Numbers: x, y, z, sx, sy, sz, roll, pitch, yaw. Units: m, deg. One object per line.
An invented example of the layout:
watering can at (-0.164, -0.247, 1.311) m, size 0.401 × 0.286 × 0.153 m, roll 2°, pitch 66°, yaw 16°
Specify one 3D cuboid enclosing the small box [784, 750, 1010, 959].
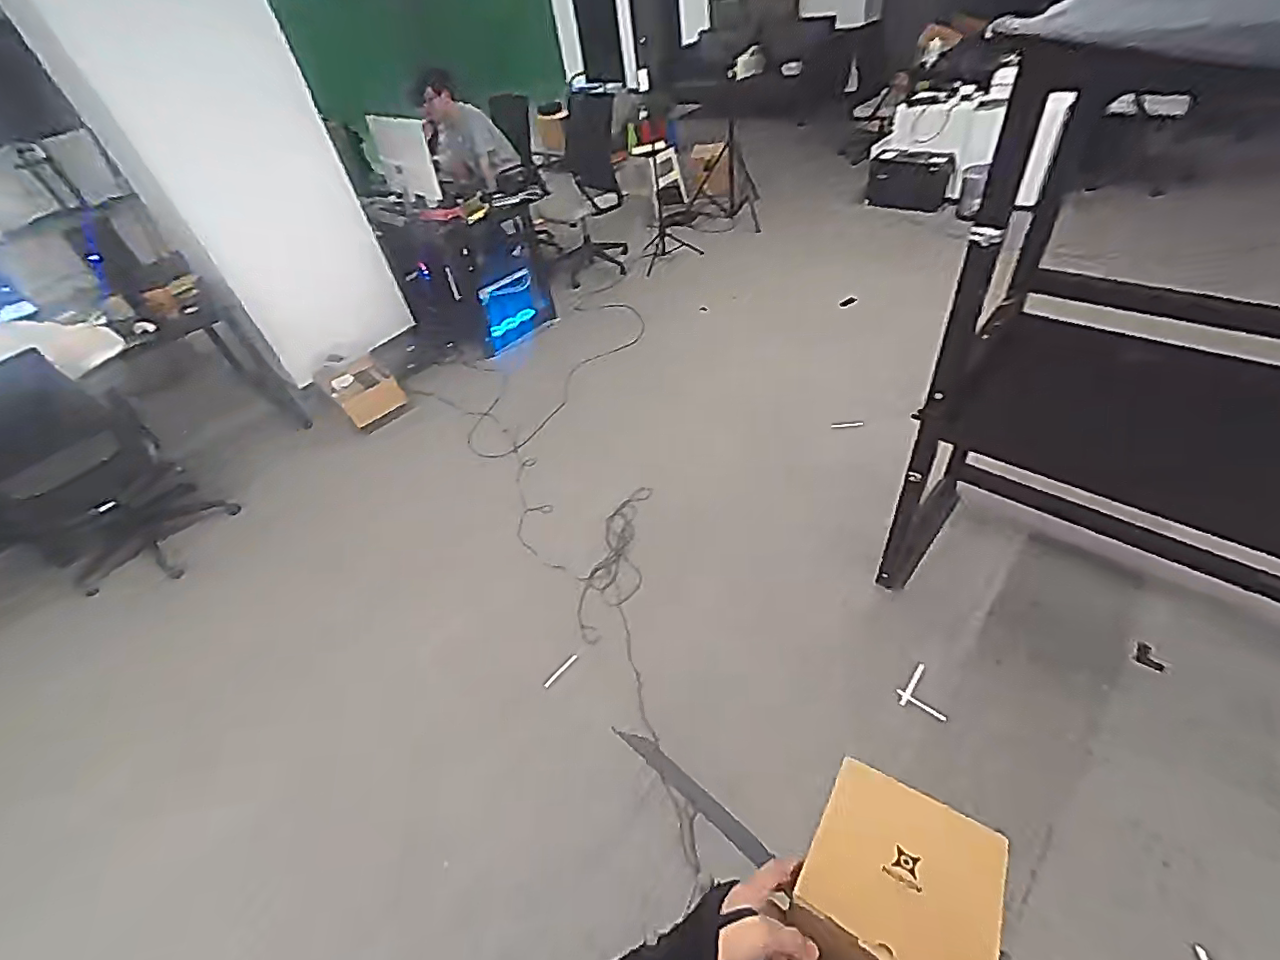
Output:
small box at (0.262, 0.438, 0.565) m, size 0.168 × 0.176 × 0.179 m, roll 17°, pitch 34°, yaw 29°
